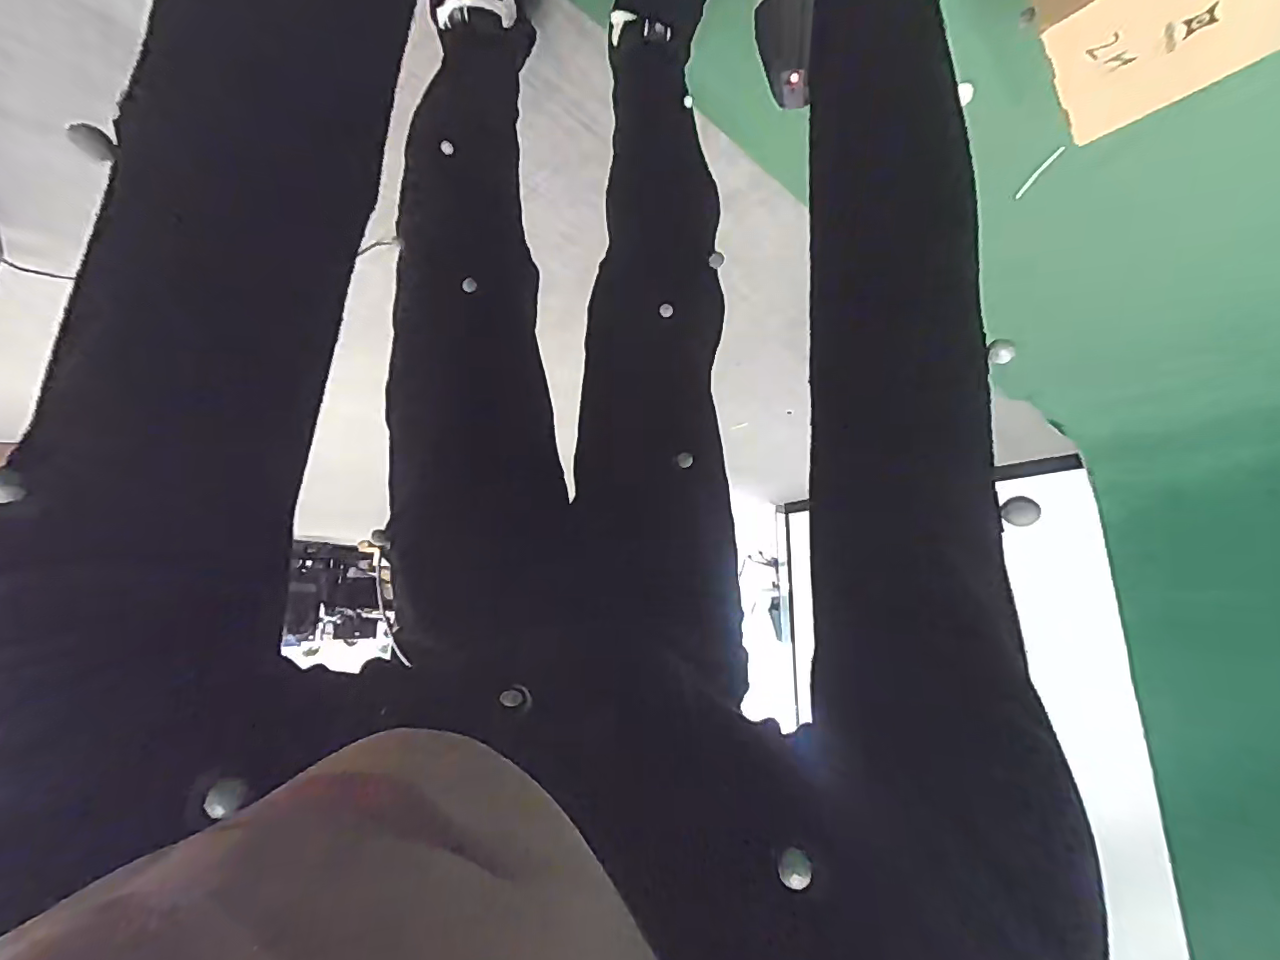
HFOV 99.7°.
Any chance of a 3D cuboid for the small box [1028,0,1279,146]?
[{"bbox_3d":[0.458,-0.459,0.476,0.168,0.176,0.179,14,160,-42],"label":"small box"}]
